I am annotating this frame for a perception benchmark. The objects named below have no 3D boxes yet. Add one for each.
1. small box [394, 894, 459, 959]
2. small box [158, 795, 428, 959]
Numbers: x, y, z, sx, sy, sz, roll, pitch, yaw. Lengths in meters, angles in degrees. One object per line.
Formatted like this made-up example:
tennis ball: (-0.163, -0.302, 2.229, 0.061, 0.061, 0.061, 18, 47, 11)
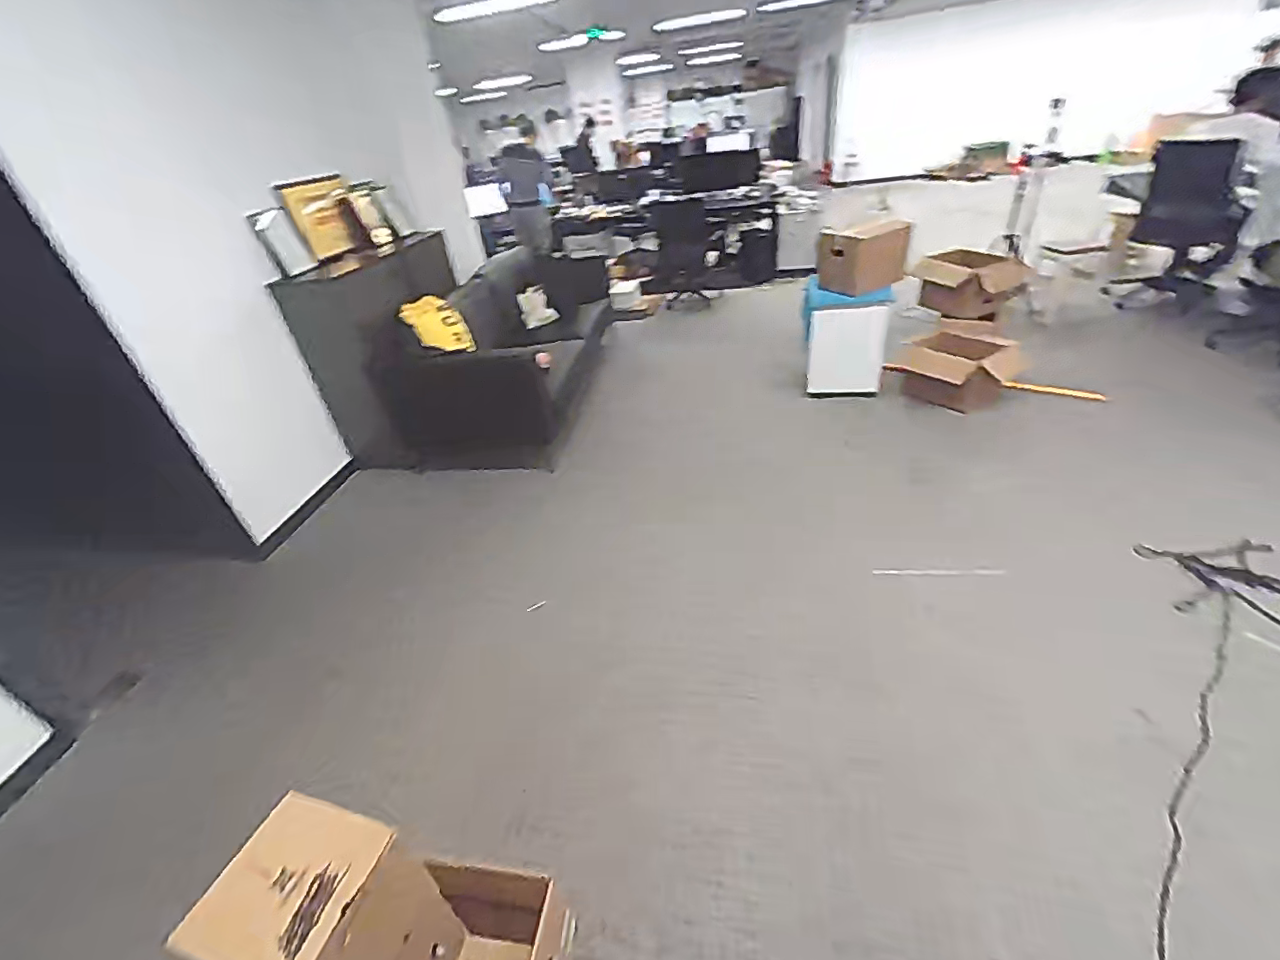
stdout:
small box: (-0.371, 0.654, 0.721, 0.179, 0.176, 0.168, 3, 34, 16)
small box: (-0.385, 0.515, 0.636, 0.179, 0.176, 0.168, 5, 34, 19)
